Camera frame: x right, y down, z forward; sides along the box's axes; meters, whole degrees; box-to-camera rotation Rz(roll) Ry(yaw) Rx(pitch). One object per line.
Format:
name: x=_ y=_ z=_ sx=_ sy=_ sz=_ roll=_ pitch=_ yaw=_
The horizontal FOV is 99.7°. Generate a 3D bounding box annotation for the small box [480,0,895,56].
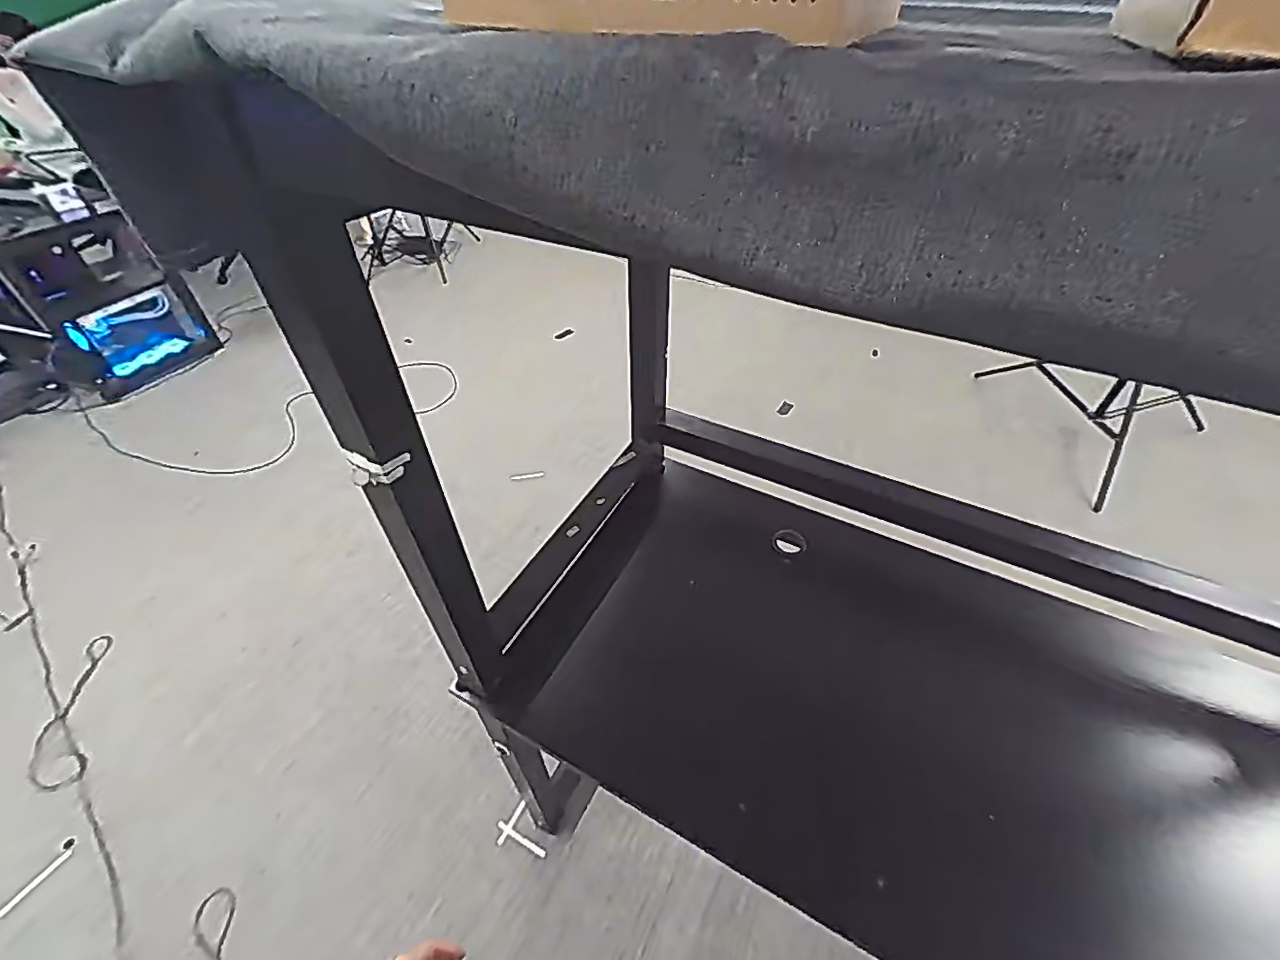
small box: x=0.030 y=-0.277 z=0.210 sx=0.168 sy=0.176 sz=0.179 roll=19 pitch=44 yaw=18

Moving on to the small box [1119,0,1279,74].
small box: x=0.259 y=-0.197 z=0.126 sx=0.168 sy=0.176 sz=0.179 roll=20 pitch=45 yaw=20
